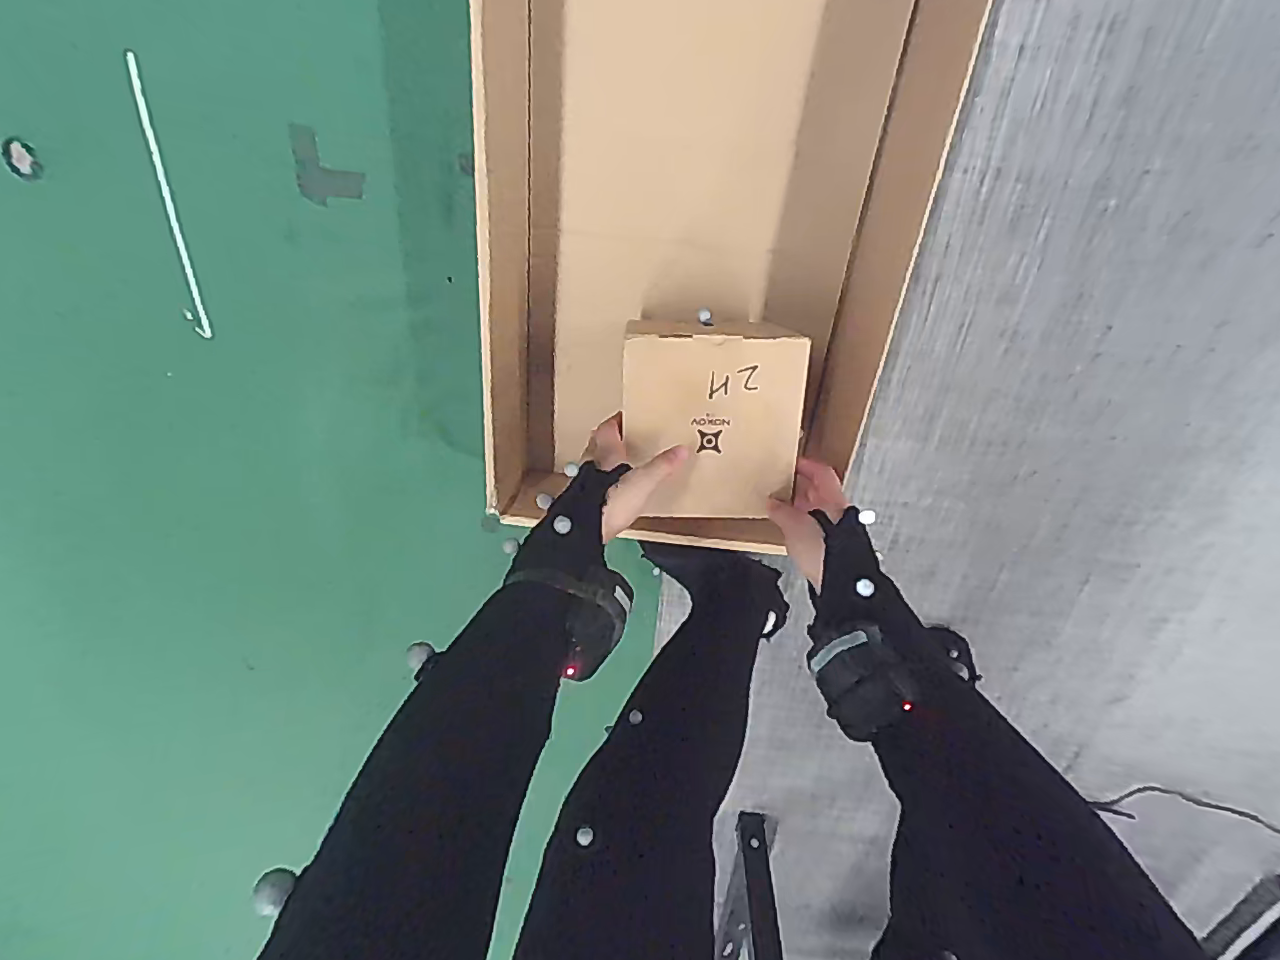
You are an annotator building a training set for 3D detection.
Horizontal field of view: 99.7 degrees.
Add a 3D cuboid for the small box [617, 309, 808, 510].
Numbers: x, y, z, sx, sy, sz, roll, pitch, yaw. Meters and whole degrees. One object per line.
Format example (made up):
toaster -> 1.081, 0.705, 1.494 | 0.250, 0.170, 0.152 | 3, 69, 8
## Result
small box -> 0.061, -0.082, 0.570 | 0.168, 0.176, 0.179 | 1, 110, -2
